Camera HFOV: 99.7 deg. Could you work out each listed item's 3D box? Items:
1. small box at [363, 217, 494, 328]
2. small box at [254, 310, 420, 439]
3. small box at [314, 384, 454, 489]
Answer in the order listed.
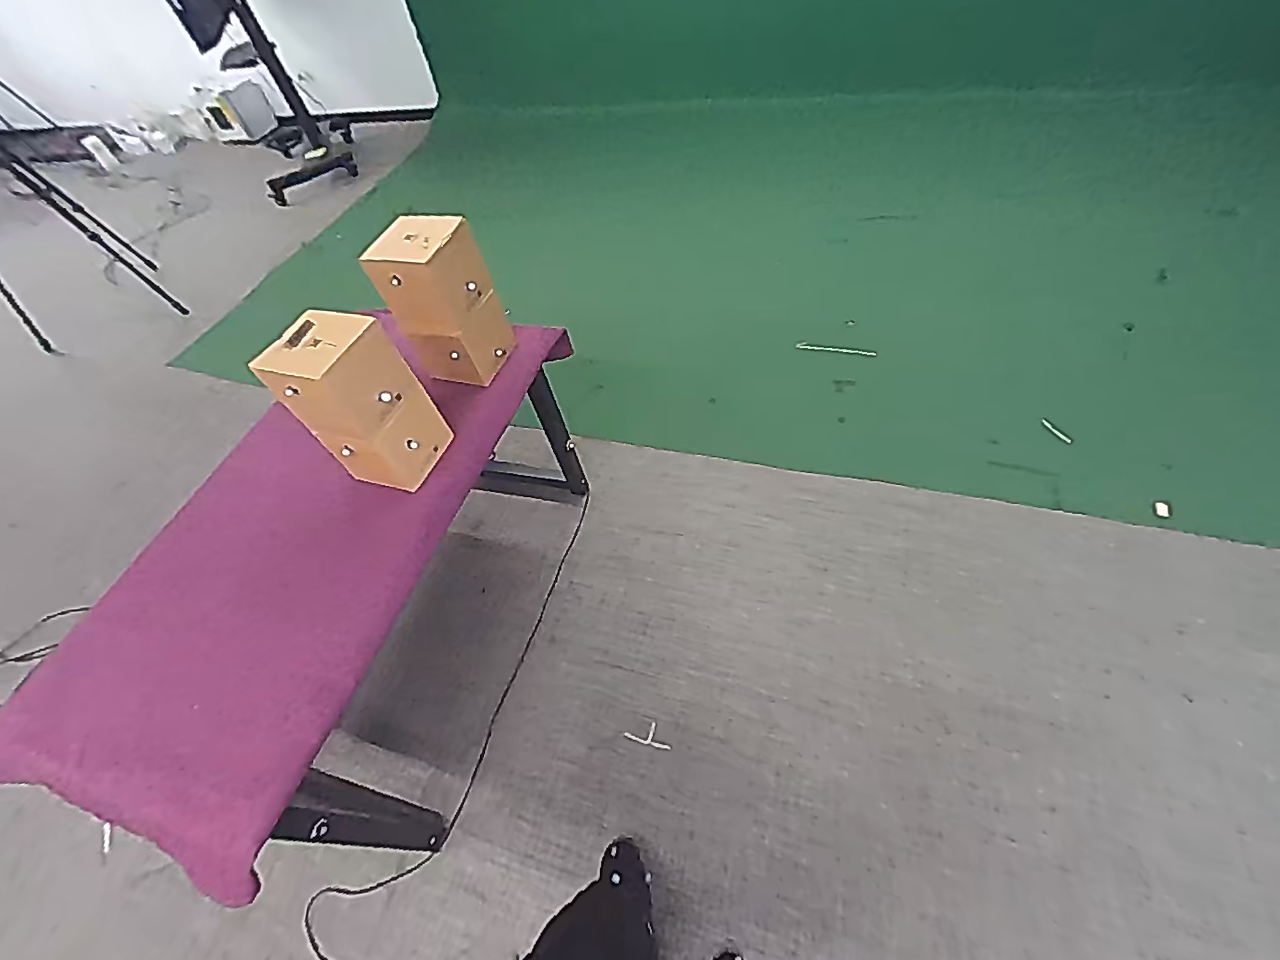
[{"bbox_3d":[-0.458,-0.457,1.197,0.179,0.176,0.168,10,58,18],"label":"small box"},{"bbox_3d":[-0.565,-0.199,1.032,0.179,0.176,0.168,12,58,20],"label":"small box"},{"bbox_3d":[-0.535,-0.100,1.160,0.179,0.176,0.168,11,57,20],"label":"small box"}]
